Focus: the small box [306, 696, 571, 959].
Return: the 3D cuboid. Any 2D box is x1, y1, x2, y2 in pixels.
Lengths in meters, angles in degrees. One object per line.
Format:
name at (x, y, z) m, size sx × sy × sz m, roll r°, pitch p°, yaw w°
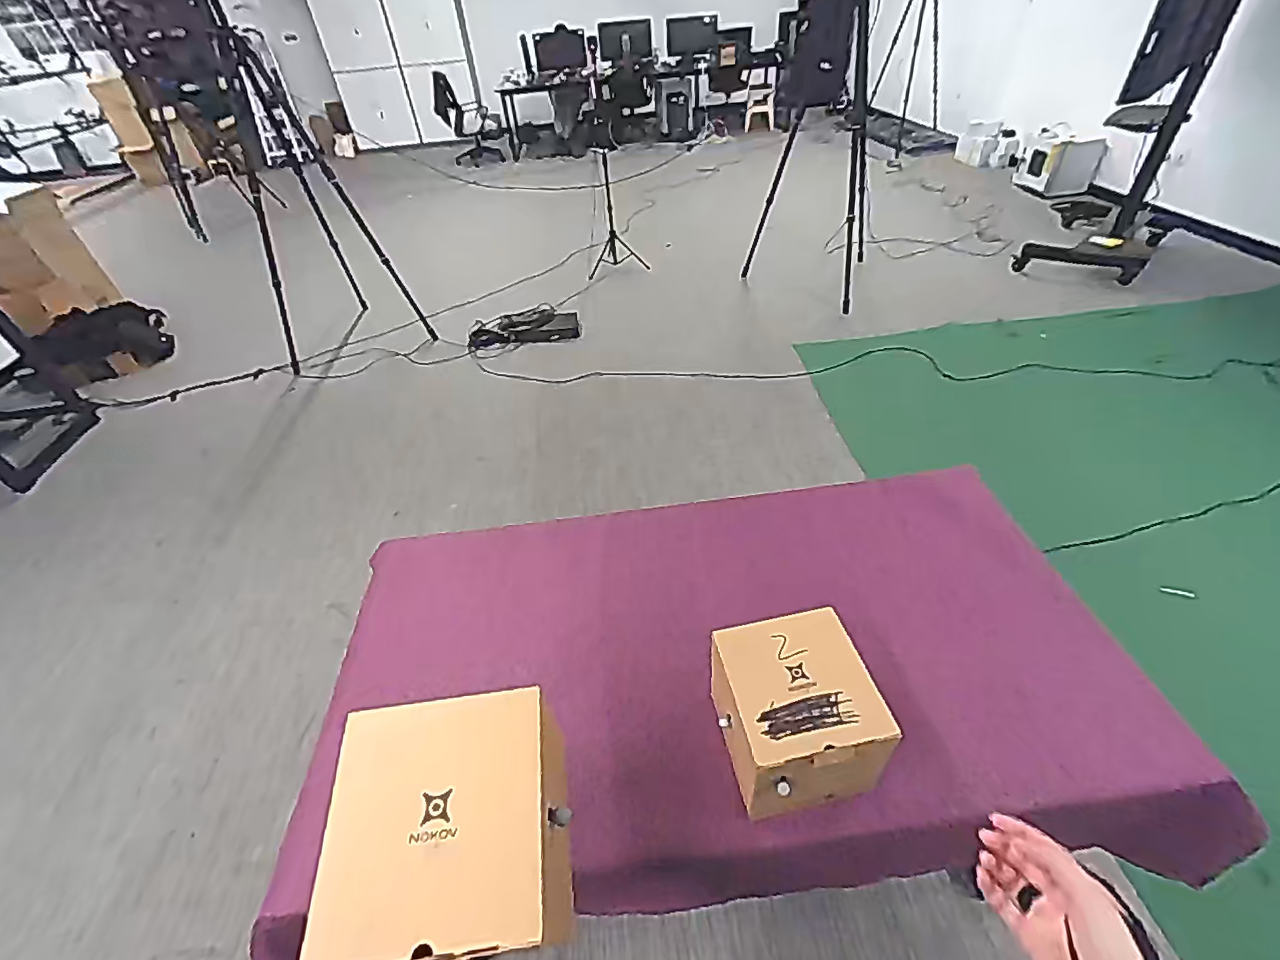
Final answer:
small box at (-0.154, 0.316, 0.482) m, size 0.168 × 0.176 × 0.179 m, roll -6°, pitch 52°, yaw -3°
